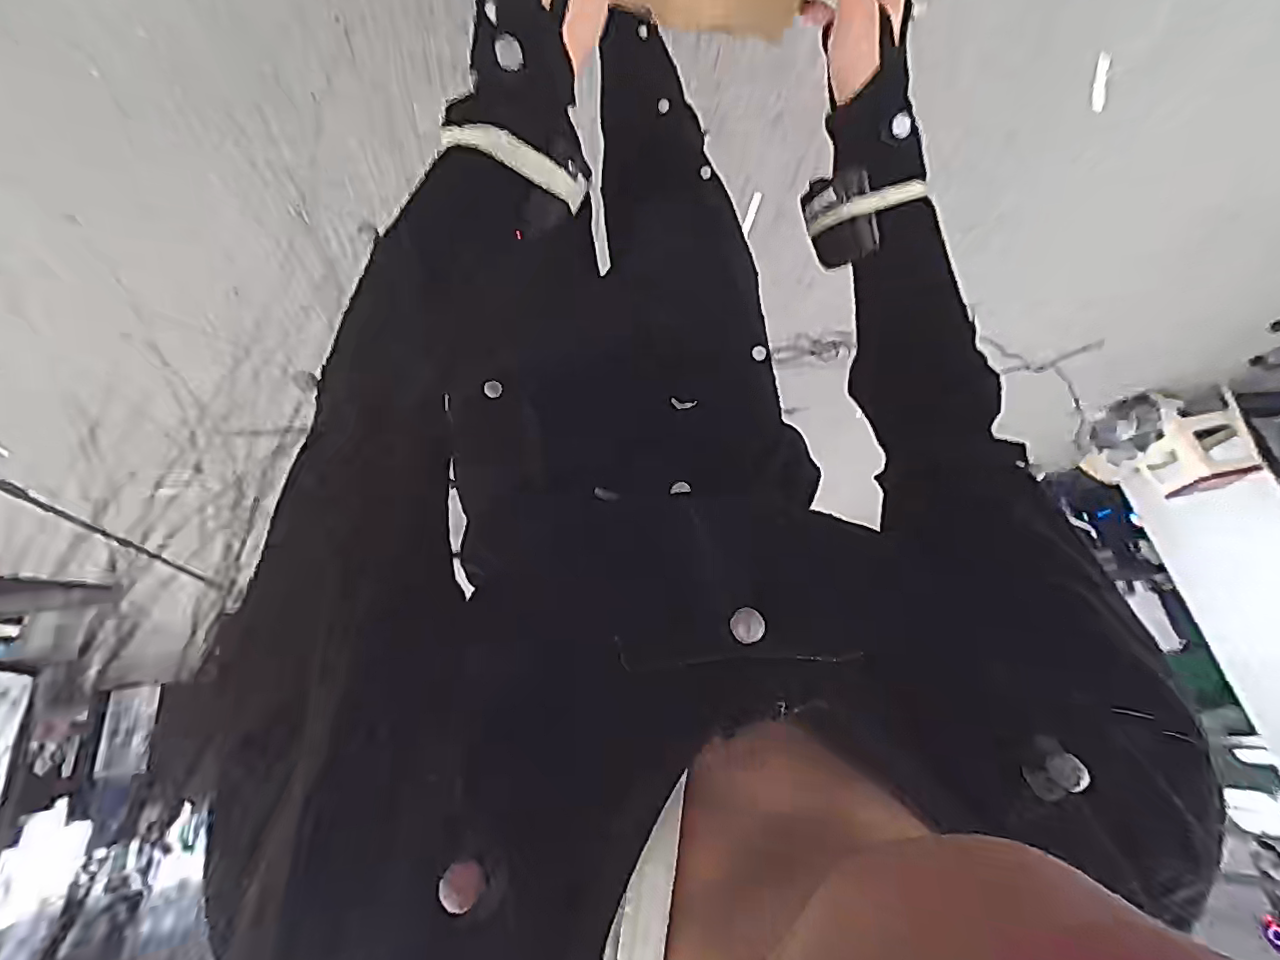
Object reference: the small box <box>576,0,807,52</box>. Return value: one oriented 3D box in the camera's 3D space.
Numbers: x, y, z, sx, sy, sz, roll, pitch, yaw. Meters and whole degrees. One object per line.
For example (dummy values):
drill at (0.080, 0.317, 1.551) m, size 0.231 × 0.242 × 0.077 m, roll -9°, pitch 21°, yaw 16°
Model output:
small box at (0.044, -0.428, 0.336) m, size 0.168 × 0.176 × 0.179 m, roll -1°, pitch 159°, yaw -17°
